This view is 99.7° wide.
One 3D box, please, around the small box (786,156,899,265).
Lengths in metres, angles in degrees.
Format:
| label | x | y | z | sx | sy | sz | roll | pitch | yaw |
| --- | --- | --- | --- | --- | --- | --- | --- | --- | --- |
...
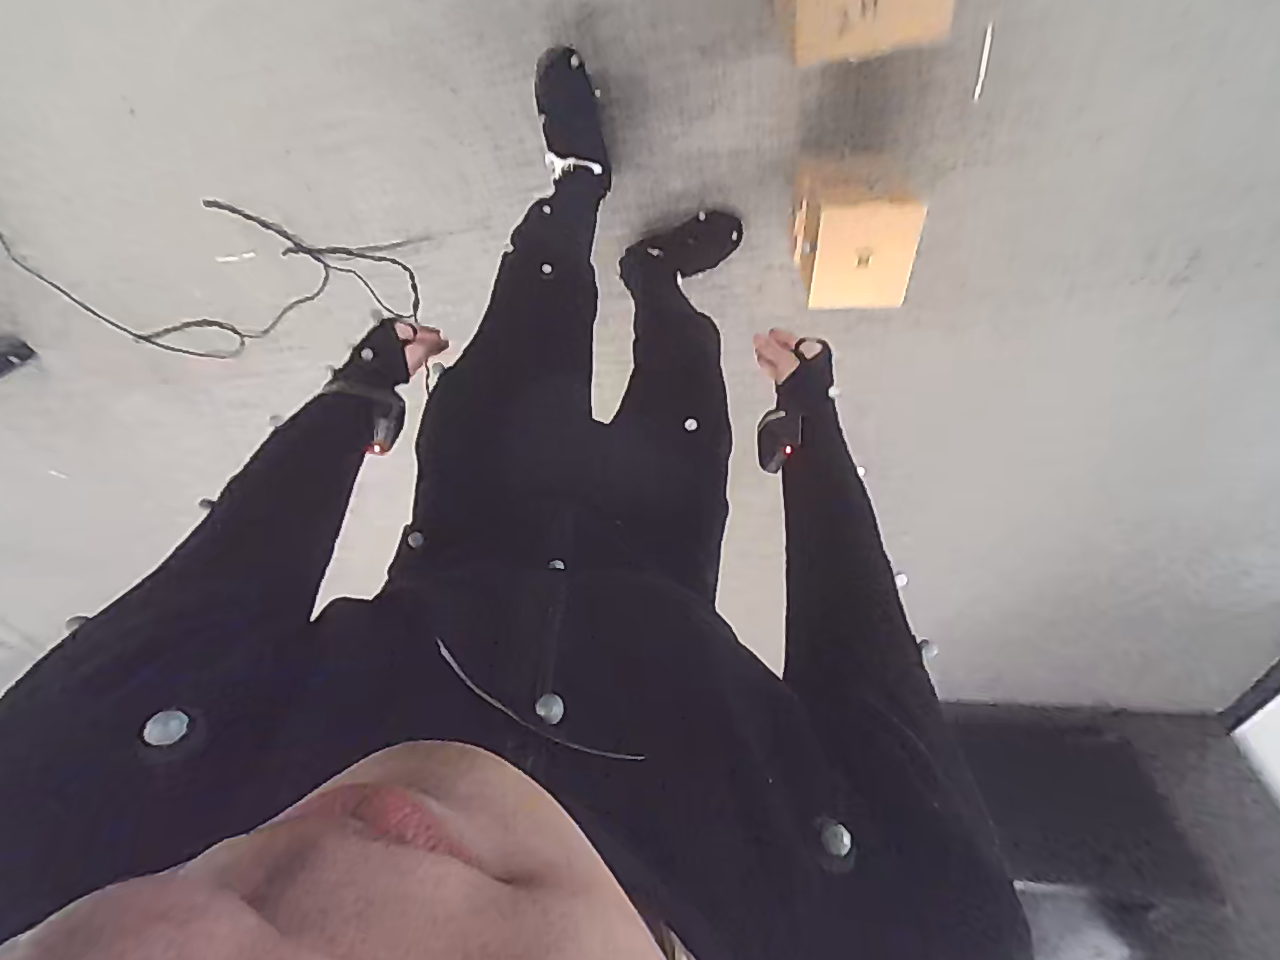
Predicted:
| label | x | y | z | sx | sy | sz | roll | pitch | yaw |
| --- | --- | --- | --- | --- | --- | --- | --- | --- | --- |
| small box | 0.400 | -0.550 | 1.103 | 0.179 | 0.176 | 0.168 | 3 | 133 | 7 |

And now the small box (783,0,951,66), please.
| label | x | y | z | sx | sy | sz | roll | pitch | yaw |
| --- | --- | --- | --- | --- | --- | --- | --- | --- | --- |
| small box | 0.257 | -0.608 | 0.625 | 0.168 | 0.176 | 0.179 | -4 | 132 | 12 |

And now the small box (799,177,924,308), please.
| label | x | y | z | sx | sy | sz | roll | pitch | yaw |
| --- | --- | --- | --- | --- | --- | --- | --- | --- | --- |
| small box | 0.390 | -0.434 | 0.989 | 0.168 | 0.176 | 0.179 | 1 | 131 | 7 |
